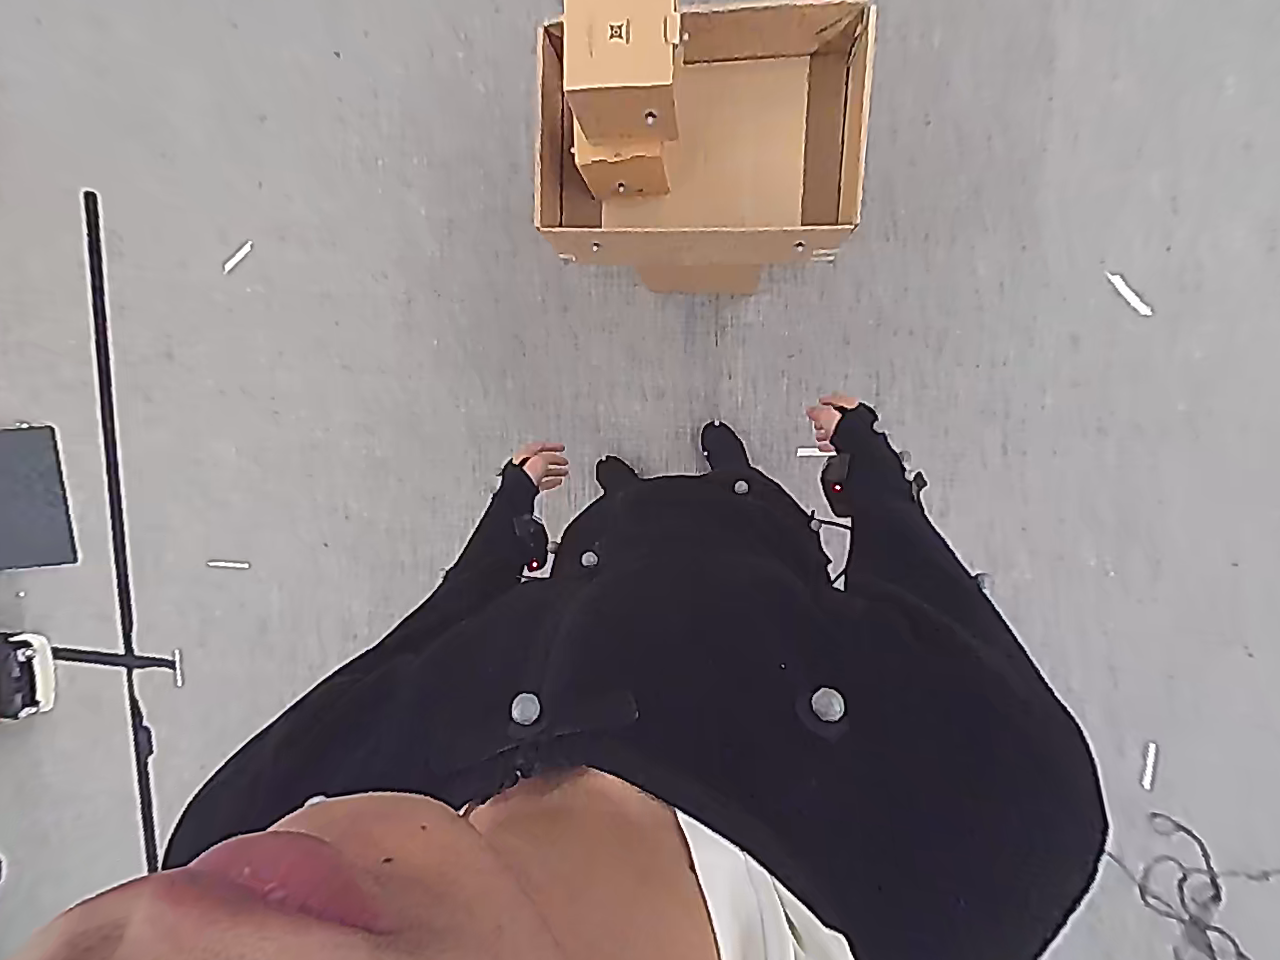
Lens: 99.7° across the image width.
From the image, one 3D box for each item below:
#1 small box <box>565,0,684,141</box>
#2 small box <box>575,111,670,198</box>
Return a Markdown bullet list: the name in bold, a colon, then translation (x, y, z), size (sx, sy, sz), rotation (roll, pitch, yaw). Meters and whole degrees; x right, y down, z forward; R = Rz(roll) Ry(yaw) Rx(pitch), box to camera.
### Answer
- **small box**: translation (-0.019, -0.693, 0.901), size (0.179, 0.176, 0.168), rotation (3, 95, 7)
- **small box**: translation (-0.029, -0.688, 1.069), size (0.168, 0.176, 0.179), rotation (-2, 96, 8)
